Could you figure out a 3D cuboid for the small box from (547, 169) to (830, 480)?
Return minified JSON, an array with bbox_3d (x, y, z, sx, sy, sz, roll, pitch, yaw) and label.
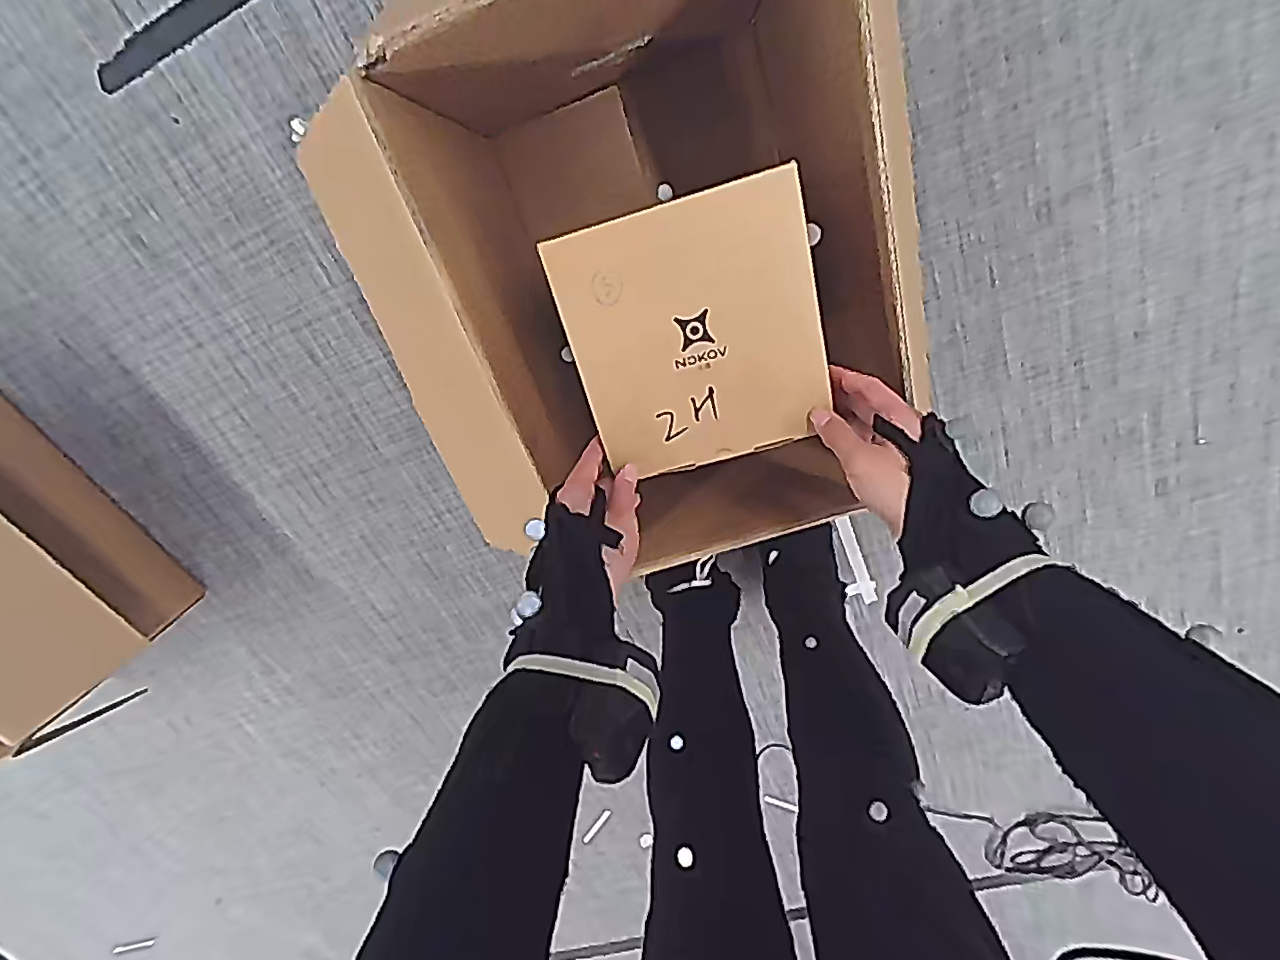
[{"bbox_3d":[0.039,-0.125,0.443,0.168,0.176,0.179,-14,113,7],"label":"small box"}]
